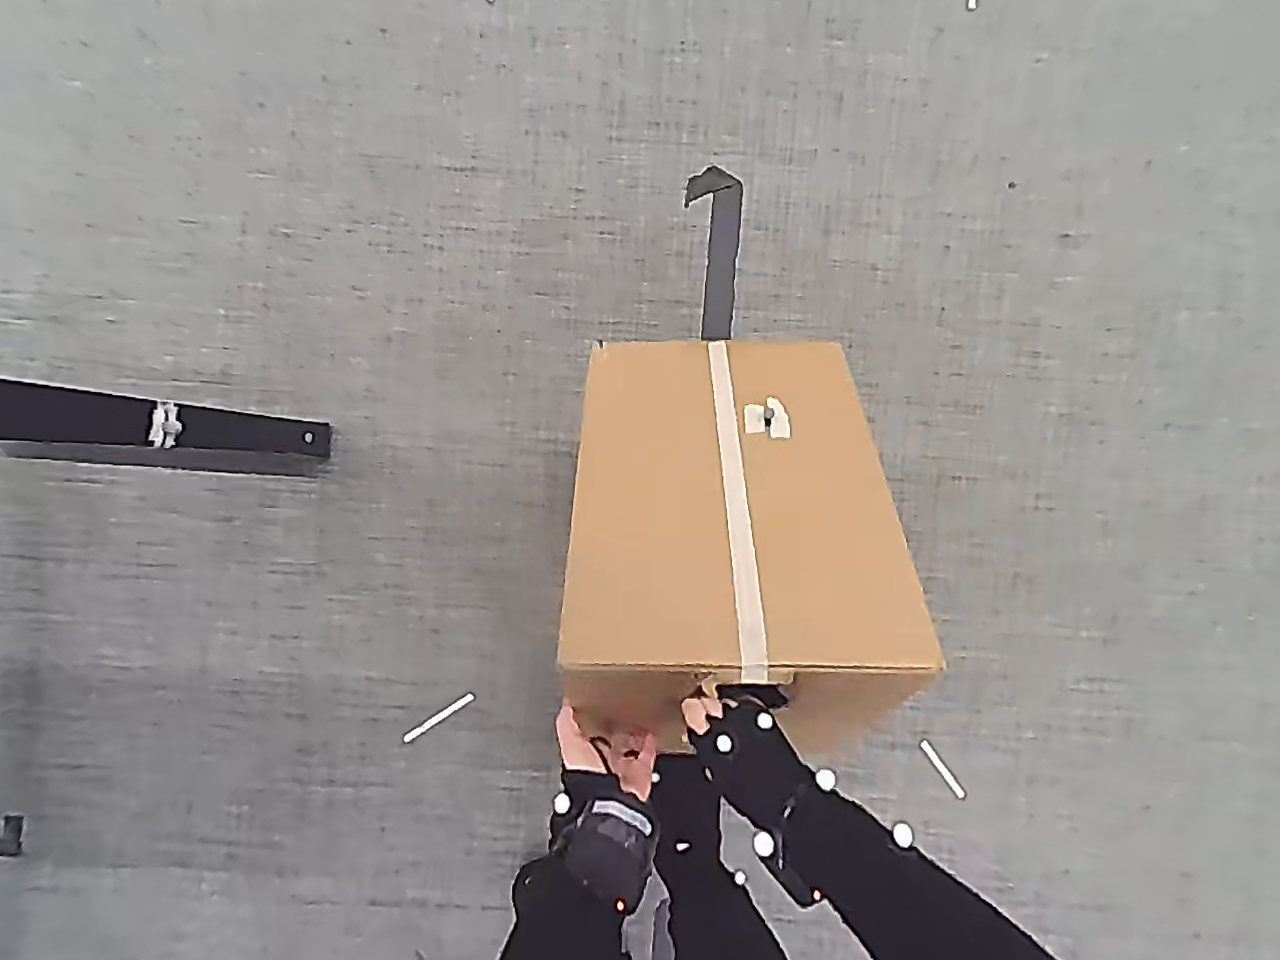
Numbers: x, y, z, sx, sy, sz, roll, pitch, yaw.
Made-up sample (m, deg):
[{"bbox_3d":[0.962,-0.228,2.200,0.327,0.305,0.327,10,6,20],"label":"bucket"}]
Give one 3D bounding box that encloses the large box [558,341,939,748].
[{"bbox_3d":[0.089,0.081,0.666,0.320,0.320,0.408,1,52,0],"label":"large box"}]
